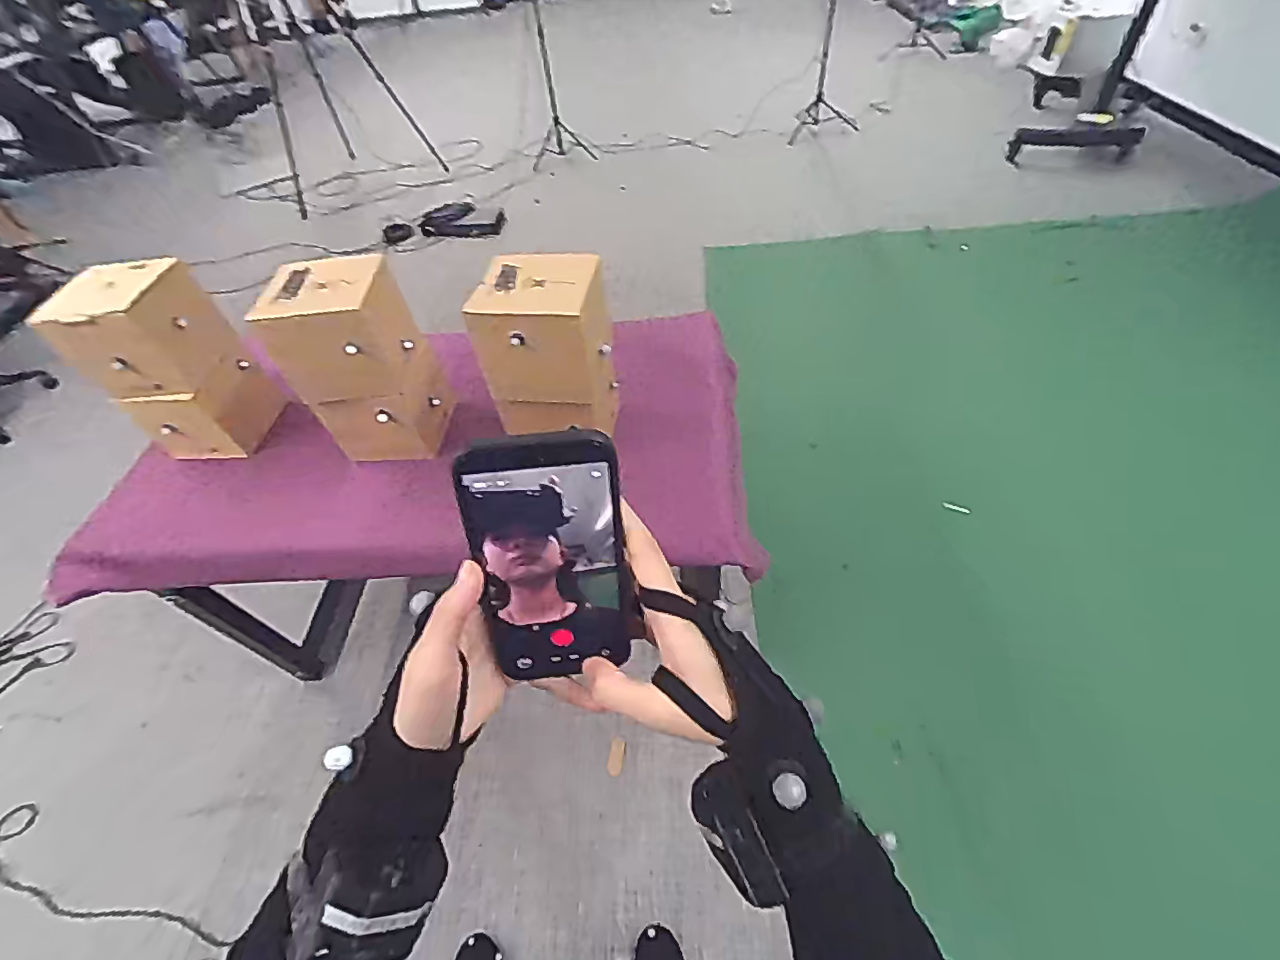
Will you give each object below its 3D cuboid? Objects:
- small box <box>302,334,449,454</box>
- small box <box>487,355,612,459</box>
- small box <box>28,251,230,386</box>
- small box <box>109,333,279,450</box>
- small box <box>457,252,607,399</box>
[{"bbox_3d":[-0.493,-0.163,1.045,0.179,0.176,0.168,-1,51,5],"label":"small box"},{"bbox_3d":[-0.155,-0.155,1.007,0.179,0.176,0.168,4,51,9],"label":"small box"},{"bbox_3d":[-0.894,-0.283,0.972,0.168,0.176,0.179,-4,52,2],"label":"small box"},{"bbox_3d":[-0.881,-0.173,1.094,0.168,0.176,0.179,0,51,6],"label":"small box"},{"bbox_3d":[-0.160,-0.246,0.870,0.179,0.176,0.168,4,51,8],"label":"small box"}]
